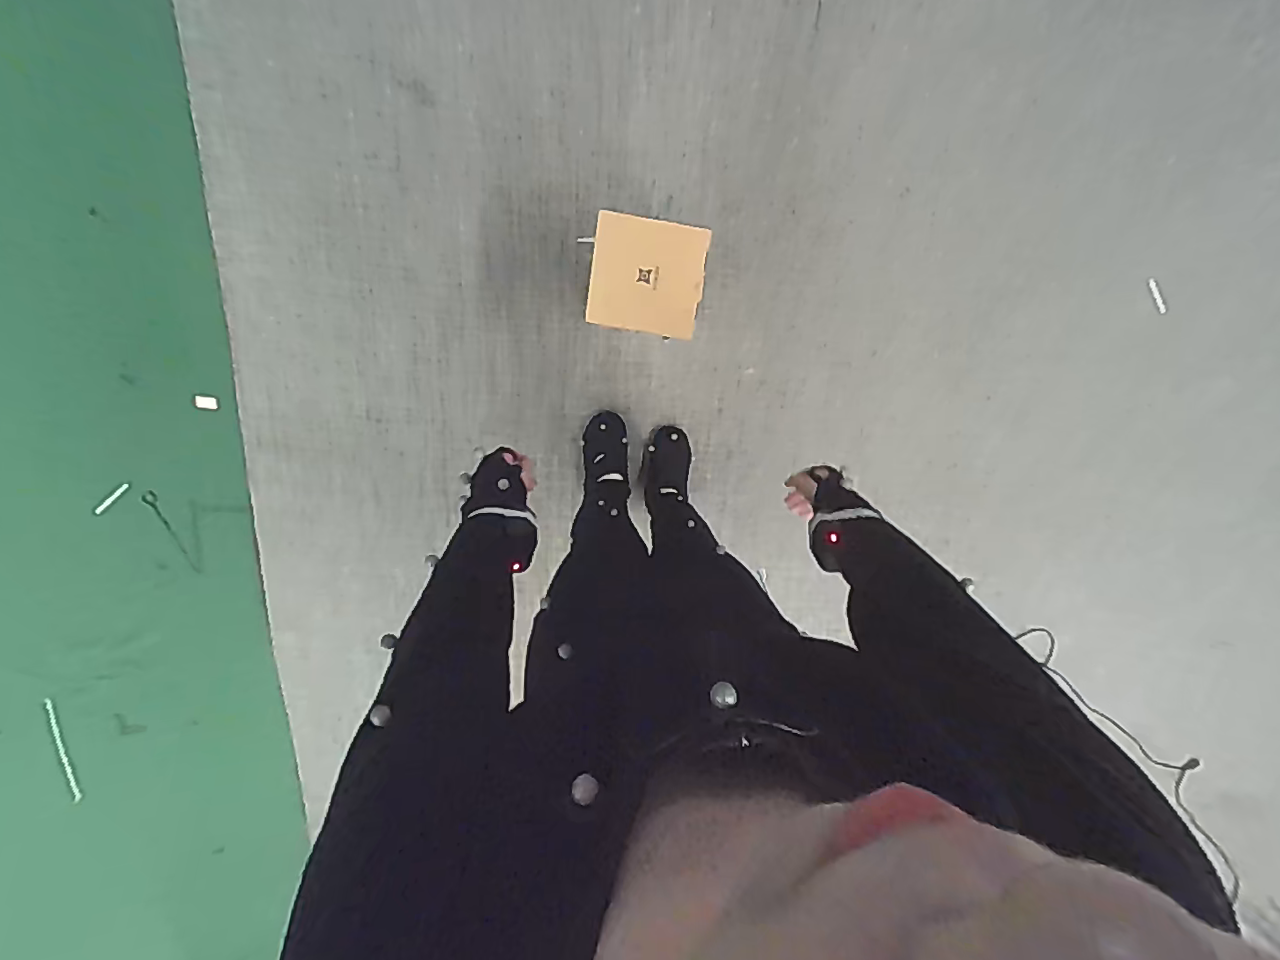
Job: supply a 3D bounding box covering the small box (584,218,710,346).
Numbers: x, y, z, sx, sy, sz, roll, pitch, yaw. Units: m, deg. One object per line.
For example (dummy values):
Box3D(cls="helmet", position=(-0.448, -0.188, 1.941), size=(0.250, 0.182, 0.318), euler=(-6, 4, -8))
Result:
Box3D(cls="small box", position=(0.006, -0.325, 0.917), size=(0.179, 0.176, 0.168), euler=(8, 105, -5))
